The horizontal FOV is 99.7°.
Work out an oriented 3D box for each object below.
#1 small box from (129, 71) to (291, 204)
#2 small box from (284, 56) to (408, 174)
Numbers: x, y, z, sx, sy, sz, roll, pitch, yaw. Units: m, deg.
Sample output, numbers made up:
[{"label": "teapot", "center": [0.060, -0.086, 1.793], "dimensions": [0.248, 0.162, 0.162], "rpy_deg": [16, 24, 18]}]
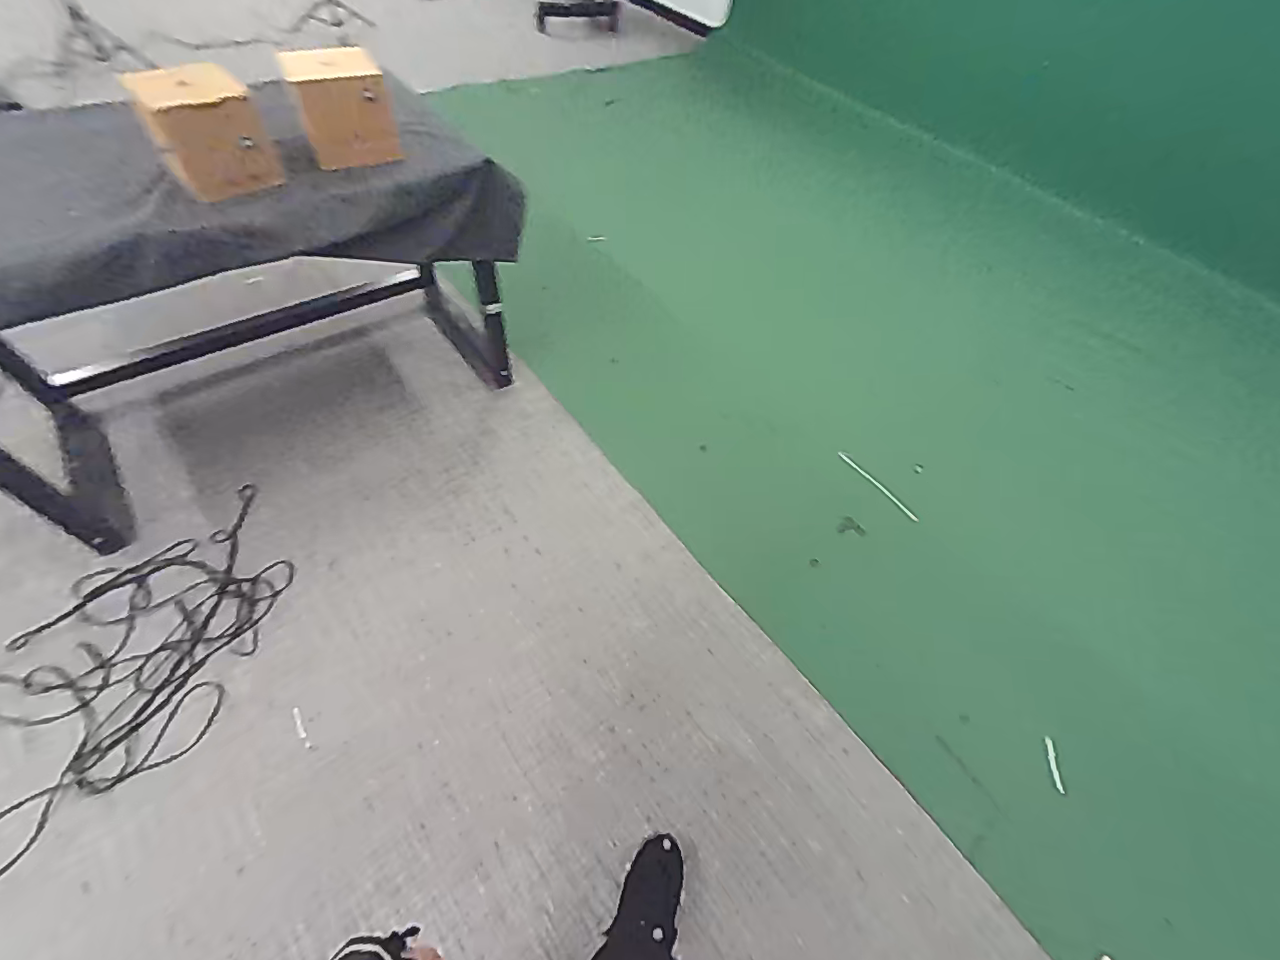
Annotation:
[{"label": "small box", "center": [-0.832, -0.666, 1.062], "dimensions": [0.179, 0.176, 0.168], "rpy_deg": [40, 58, 23]}, {"label": "small box", "center": [-0.632, -0.789, 1.175], "dimensions": [0.179, 0.176, 0.168], "rpy_deg": [-22, 58, -21]}]
